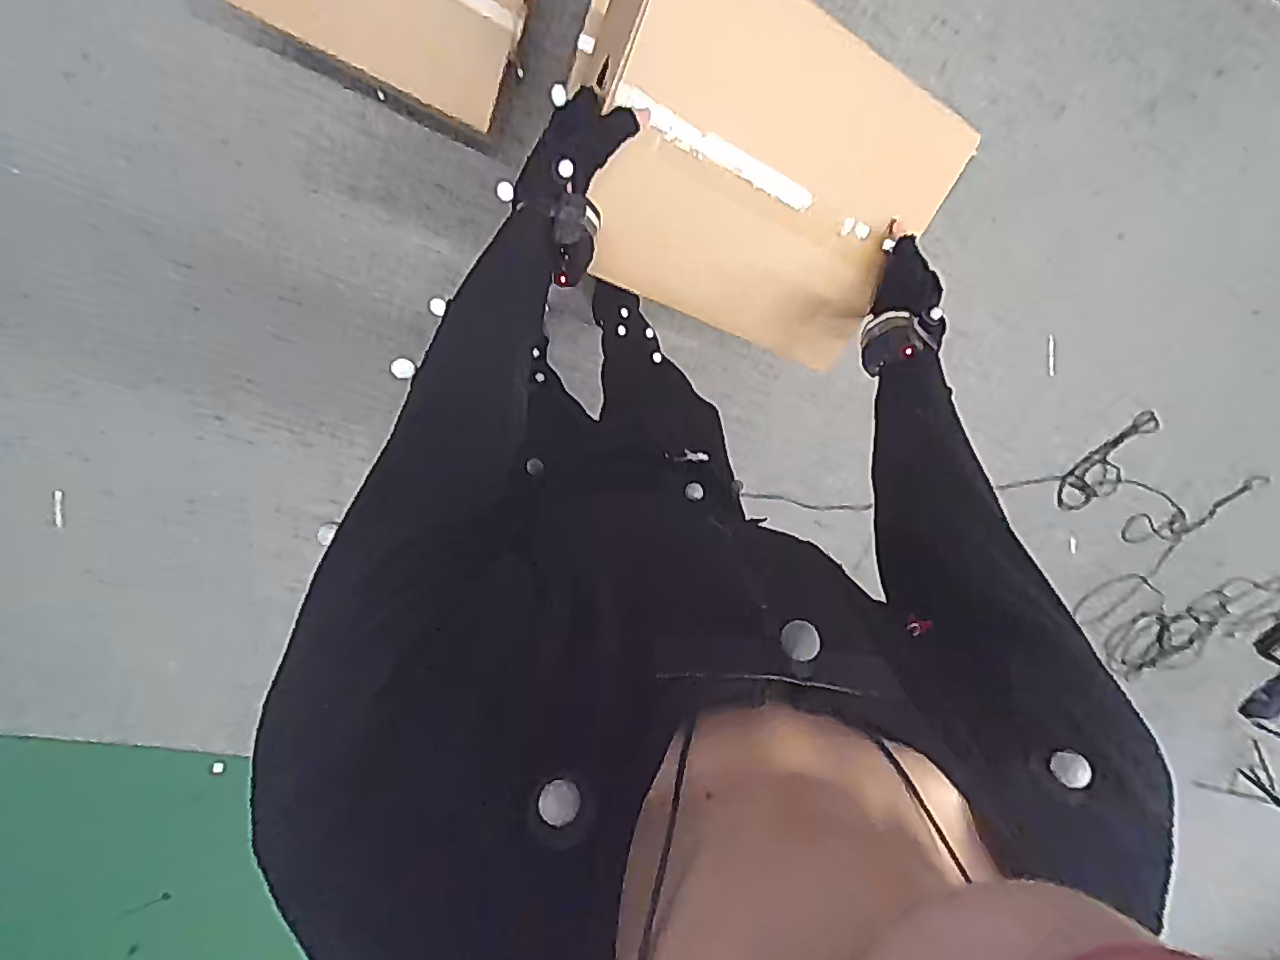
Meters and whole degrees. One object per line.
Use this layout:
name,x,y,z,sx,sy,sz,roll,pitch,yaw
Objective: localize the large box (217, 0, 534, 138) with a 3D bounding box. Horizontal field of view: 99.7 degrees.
large box,-0.402,-0.832,0.902,0.408,0.320,0.320,18,112,-19
